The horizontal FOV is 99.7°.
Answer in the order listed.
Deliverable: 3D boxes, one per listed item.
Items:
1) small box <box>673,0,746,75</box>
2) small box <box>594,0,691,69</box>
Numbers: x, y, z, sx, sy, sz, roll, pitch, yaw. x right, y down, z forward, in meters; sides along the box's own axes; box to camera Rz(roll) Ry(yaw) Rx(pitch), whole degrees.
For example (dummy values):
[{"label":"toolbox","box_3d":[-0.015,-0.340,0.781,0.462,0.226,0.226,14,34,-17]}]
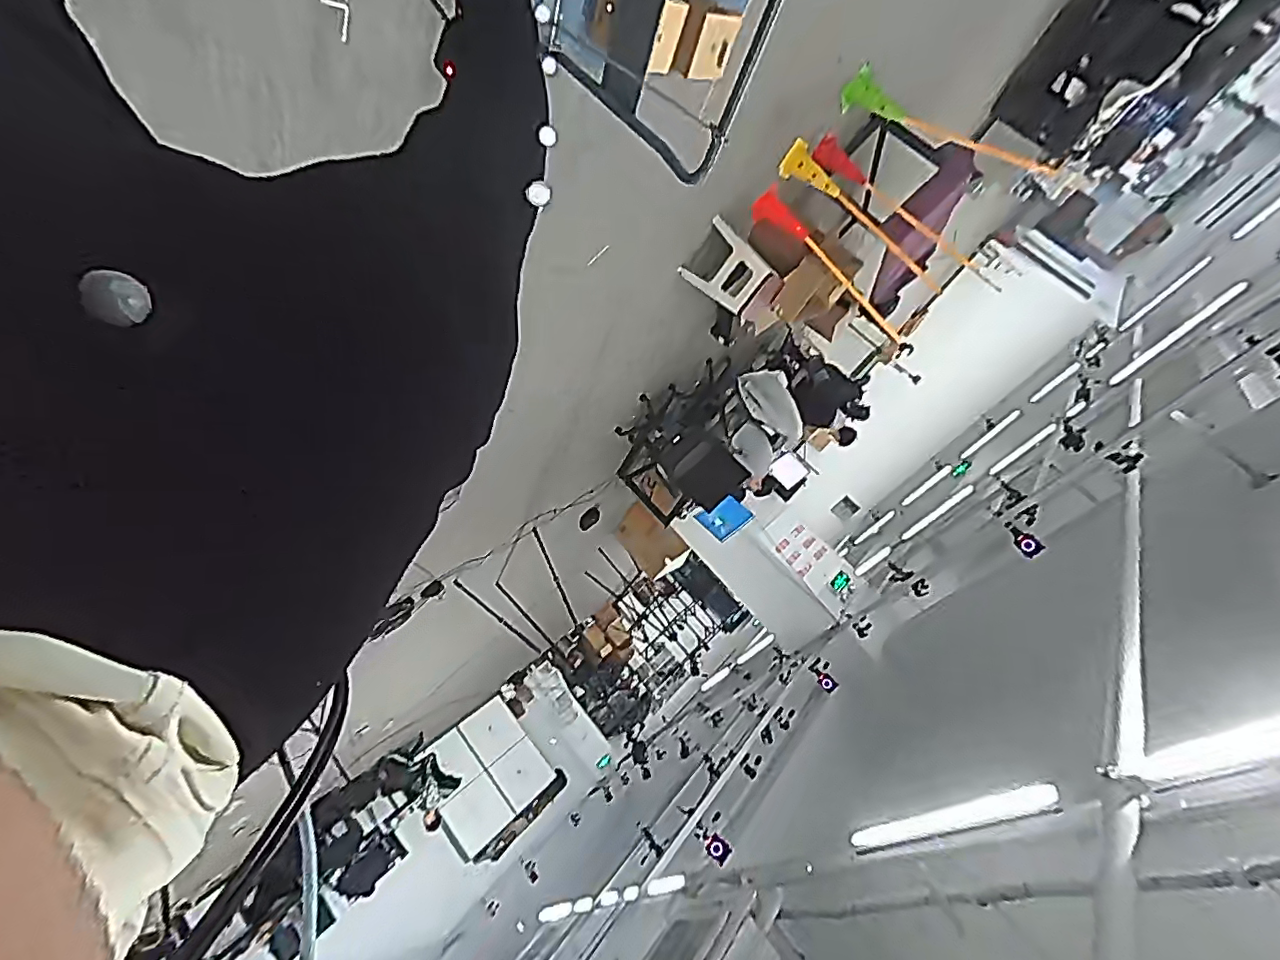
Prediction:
[{"label":"small box","box_3d":[0.182,-1.374,1.652,0.179,0.176,0.168,-31,160,-35]},{"label":"small box","box_3d":[0.003,-1.271,1.489,0.179,0.176,0.168,-30,160,-37]}]
